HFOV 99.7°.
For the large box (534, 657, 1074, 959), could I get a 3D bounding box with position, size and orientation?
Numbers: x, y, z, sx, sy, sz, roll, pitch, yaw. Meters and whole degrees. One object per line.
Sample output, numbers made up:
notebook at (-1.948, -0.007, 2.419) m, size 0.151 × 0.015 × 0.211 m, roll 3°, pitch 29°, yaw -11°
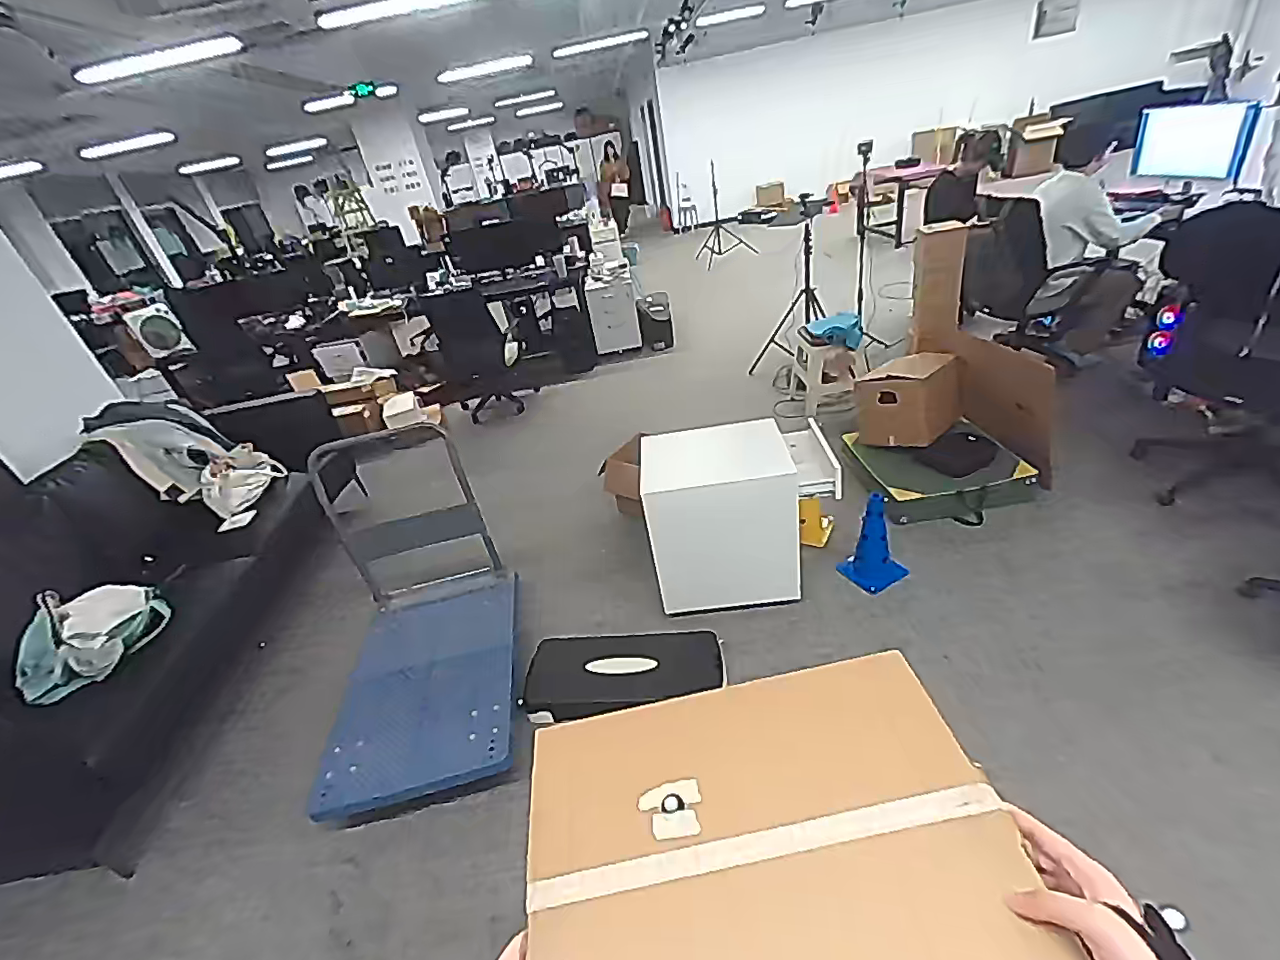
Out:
large box at (0.135, 0.443, 0.555) m, size 0.408 × 0.320 × 0.320 m, roll -15°, pitch 35°, yaw 2°
